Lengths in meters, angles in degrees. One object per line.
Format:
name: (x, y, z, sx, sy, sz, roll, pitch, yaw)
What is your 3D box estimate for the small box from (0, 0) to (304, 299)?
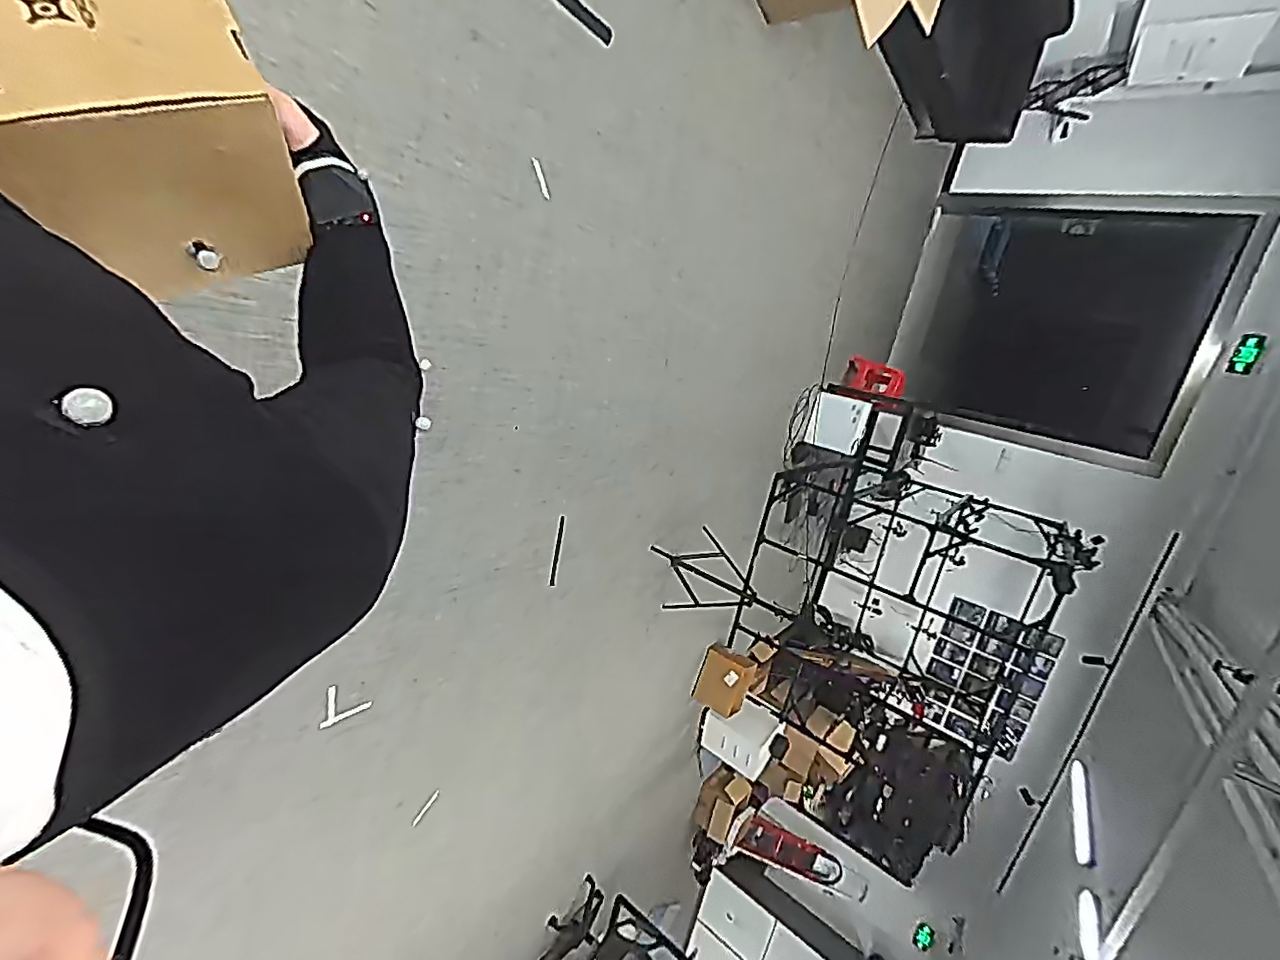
small box: (-0.399, -0.278, 0.435, 0.179, 0.168, 0.176, -28, 172, -26)
